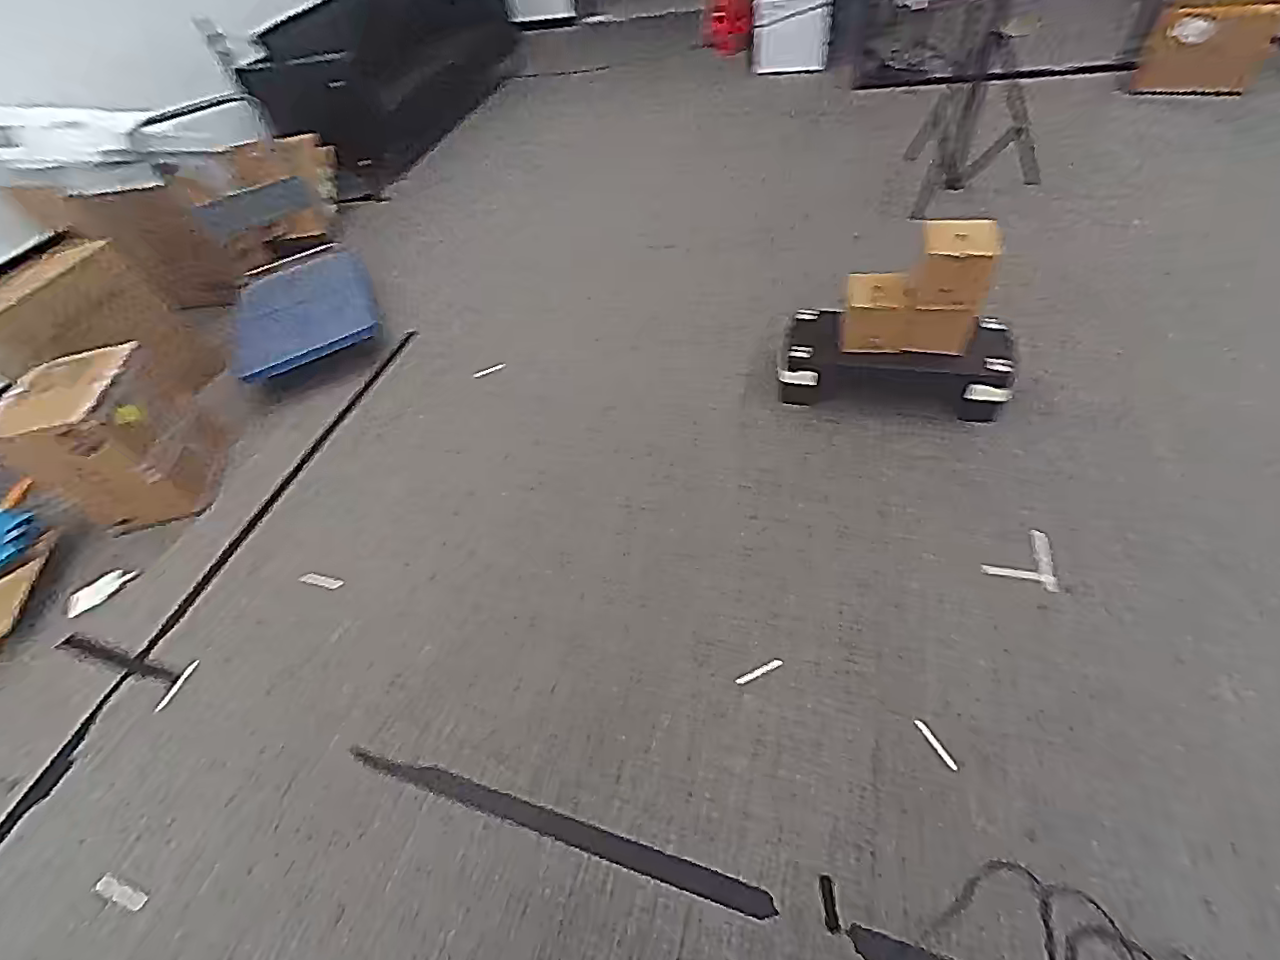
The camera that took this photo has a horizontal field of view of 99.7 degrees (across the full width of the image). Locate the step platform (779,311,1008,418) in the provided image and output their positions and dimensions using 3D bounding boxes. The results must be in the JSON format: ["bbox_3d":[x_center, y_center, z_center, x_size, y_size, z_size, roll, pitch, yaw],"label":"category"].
[{"bbox_3d":[0.821,-0.402,1.809,0.684,0.204,0.286,7,53,17],"label":"step platform"}]

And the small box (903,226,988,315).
[{"bbox_3d":[0.848,-0.589,1.518,0.168,0.176,0.179,6,54,15],"label":"small box"}]
